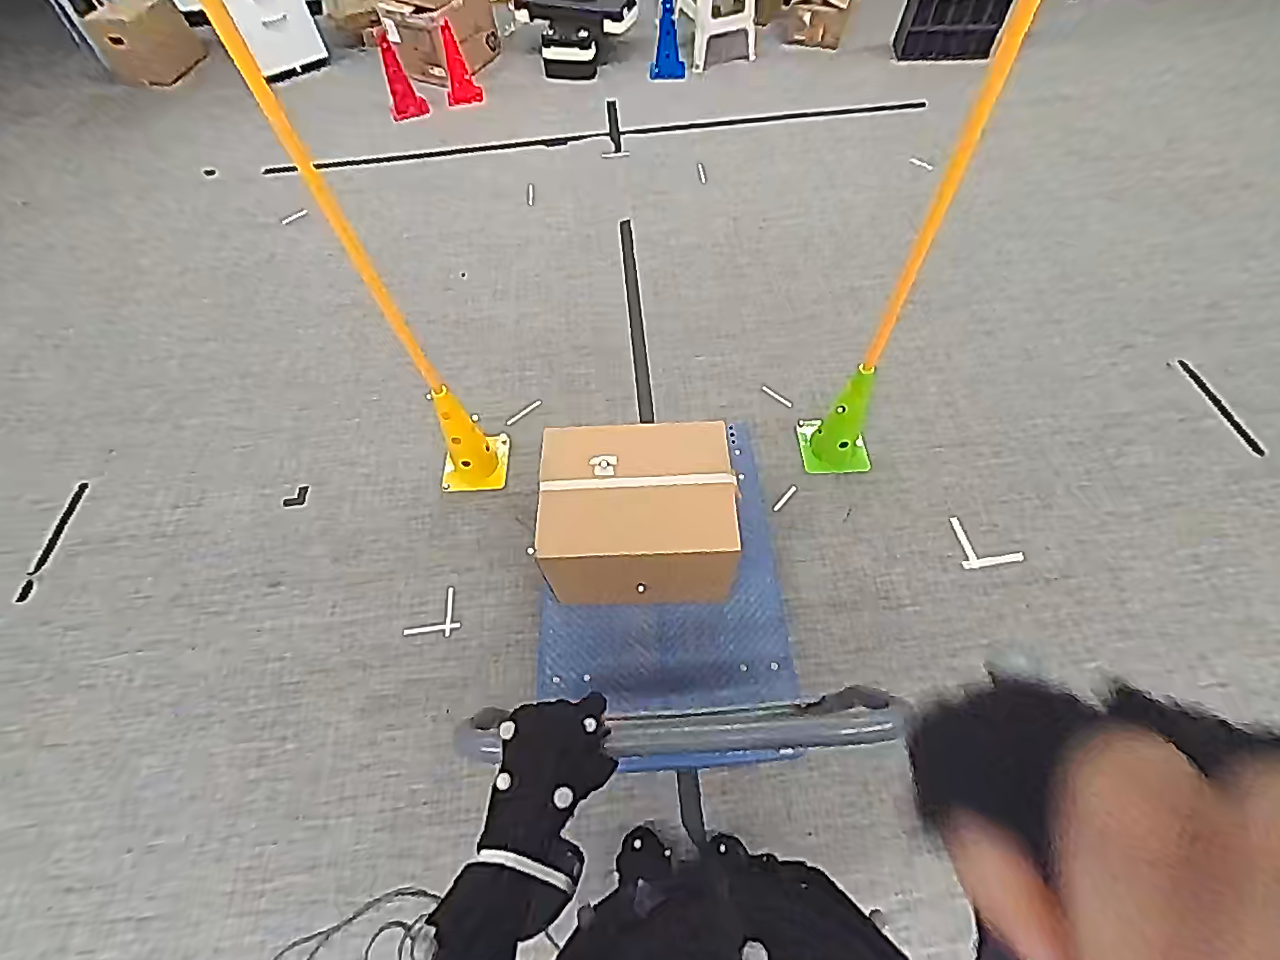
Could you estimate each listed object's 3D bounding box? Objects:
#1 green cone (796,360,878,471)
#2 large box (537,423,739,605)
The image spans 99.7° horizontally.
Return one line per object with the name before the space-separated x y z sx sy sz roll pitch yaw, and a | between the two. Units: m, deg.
green cone | 0.604 -0.204 1.569 0.202 0.368 0.200 -2 59 0
large box | -0.001 0.091 1.255 0.408 0.320 0.320 -3 59 2
